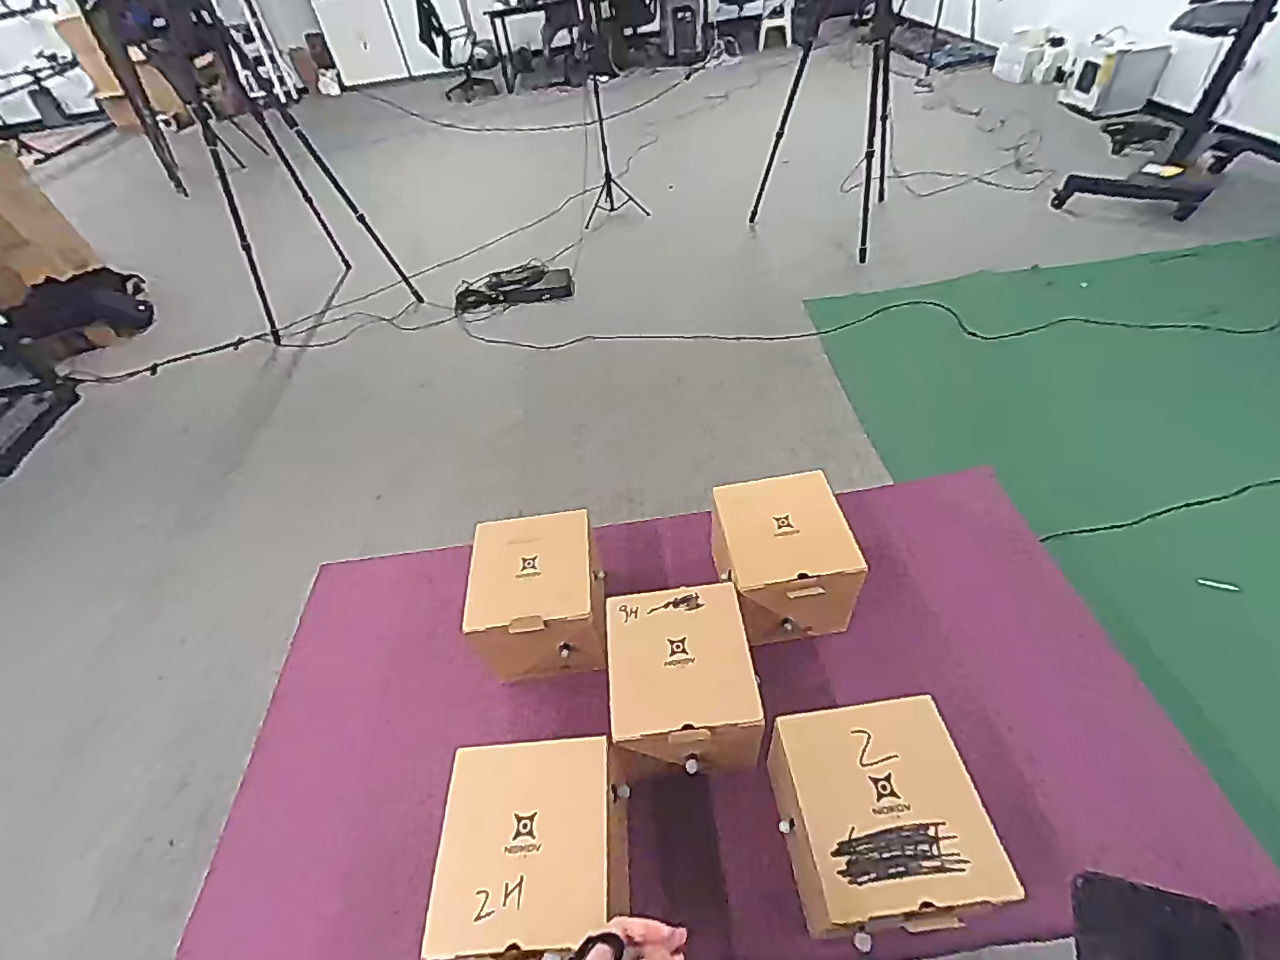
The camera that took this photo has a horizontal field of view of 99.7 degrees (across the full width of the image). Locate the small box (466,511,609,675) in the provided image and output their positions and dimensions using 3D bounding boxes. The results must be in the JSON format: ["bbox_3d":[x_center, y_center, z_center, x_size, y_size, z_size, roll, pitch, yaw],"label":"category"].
[{"bbox_3d":[-0.139,0.172,0.795,0.168,0.176,0.179,-7,47,1],"label":"small box"}]

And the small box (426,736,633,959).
[{"bbox_3d":[-0.100,0.398,0.581,0.168,0.176,0.179,-6,47,4],"label":"small box"}]

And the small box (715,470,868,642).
[{"bbox_3d":[0.206,0.113,0.794,0.168,0.176,0.179,-10,49,0],"label":"small box"}]
